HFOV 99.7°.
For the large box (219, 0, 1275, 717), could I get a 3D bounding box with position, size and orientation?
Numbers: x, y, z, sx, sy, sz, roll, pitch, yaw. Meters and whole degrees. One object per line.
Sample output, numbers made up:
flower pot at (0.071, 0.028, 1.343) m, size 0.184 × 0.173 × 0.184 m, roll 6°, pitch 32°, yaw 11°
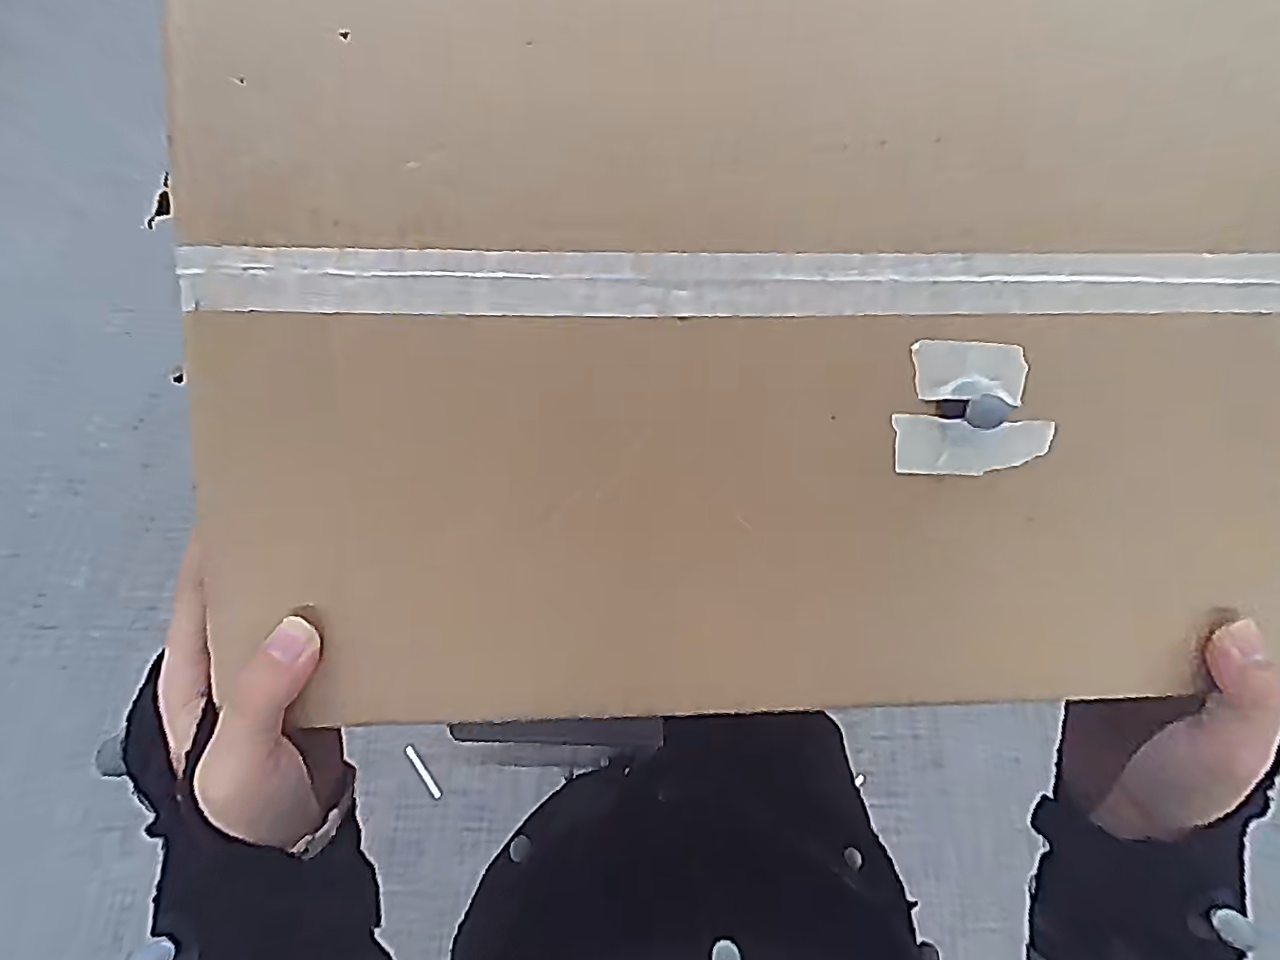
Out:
large box at (0.041, -0.078, 0.355) m, size 0.408 × 0.320 × 0.320 m, roll -1°, pitch 94°, yaw -4°
